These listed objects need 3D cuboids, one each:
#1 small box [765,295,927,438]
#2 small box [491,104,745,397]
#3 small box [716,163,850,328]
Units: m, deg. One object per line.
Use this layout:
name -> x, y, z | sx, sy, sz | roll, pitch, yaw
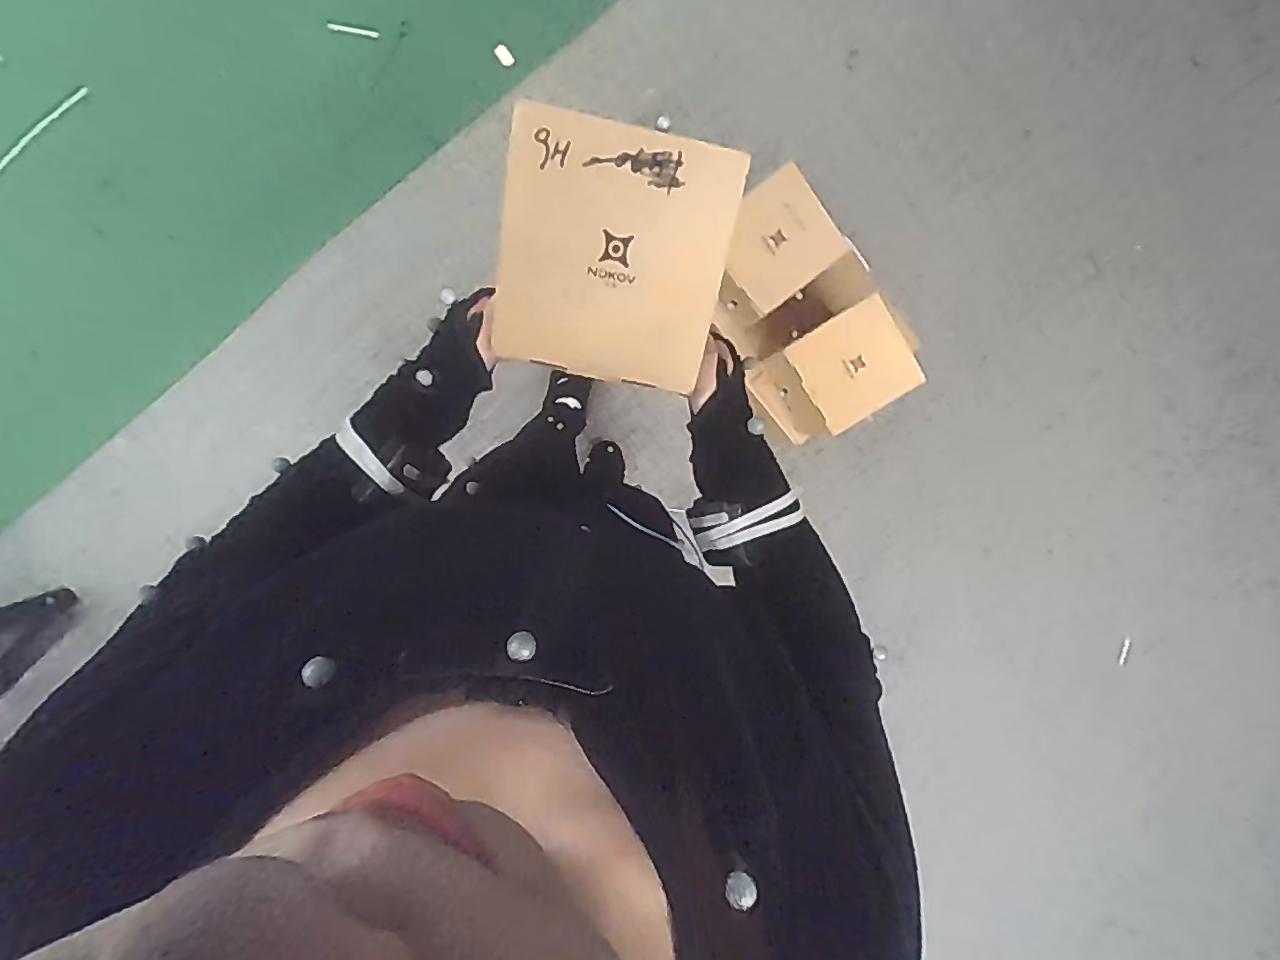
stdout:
small box -> 0.345, -0.189, 0.940 | 0.179, 0.176, 0.168 | -32, 95, 3
small box -> -0.021, -0.190, 0.470 | 0.168, 0.176, 0.179 | 10, 113, -5
small box -> 0.212, -0.380, 0.917 | 0.179, 0.176, 0.168 | -37, 98, 3
